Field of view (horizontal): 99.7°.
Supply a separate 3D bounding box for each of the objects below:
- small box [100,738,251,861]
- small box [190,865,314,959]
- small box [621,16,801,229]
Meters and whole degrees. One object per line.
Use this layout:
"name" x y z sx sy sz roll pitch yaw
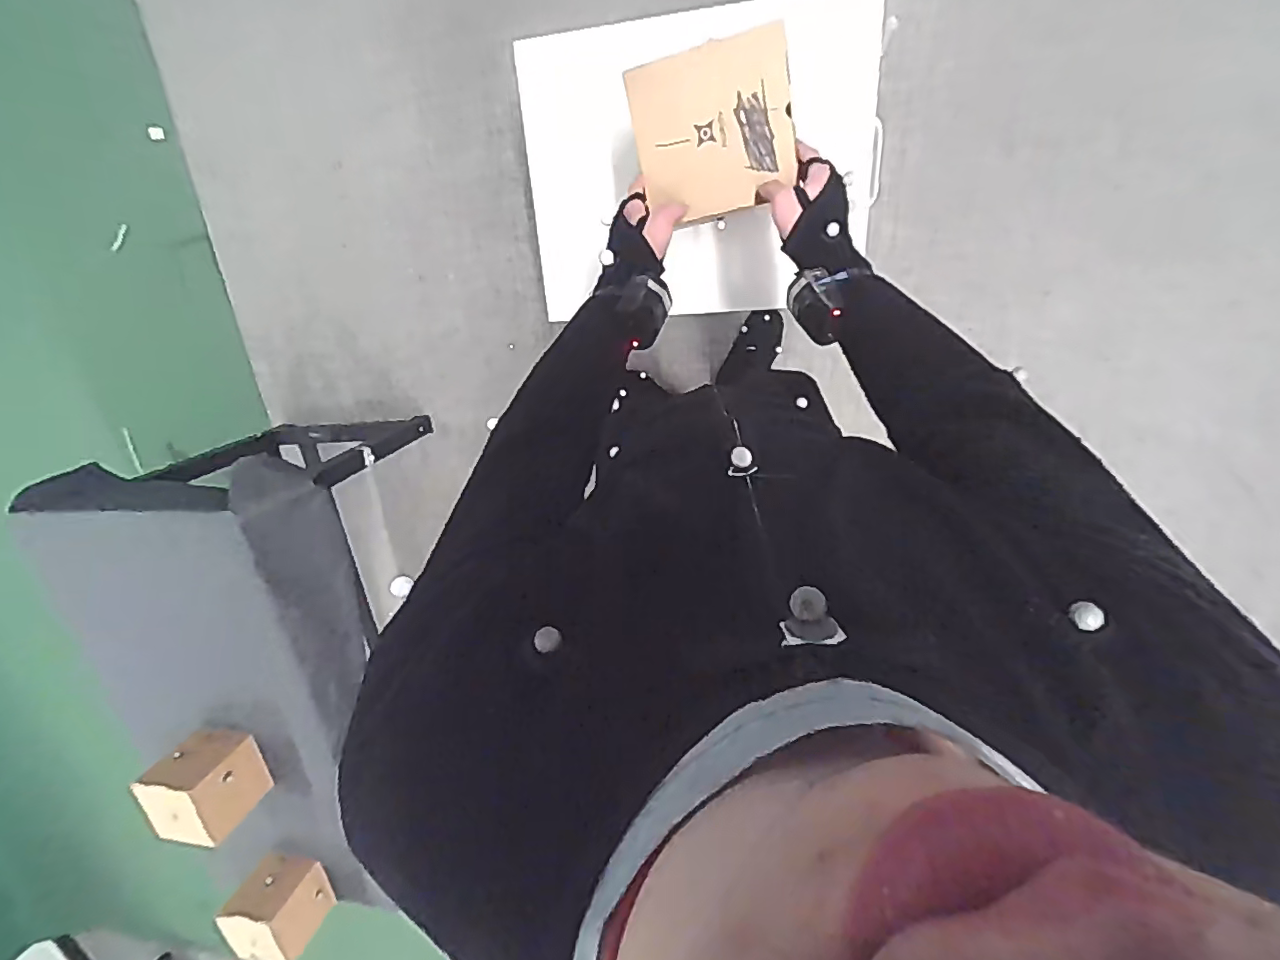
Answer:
"small box" -1.045 0.719 1.233 0.168 0.176 0.179 0 113 12
"small box" -0.980 1.128 1.382 0.168 0.176 0.179 0 110 11
"small box" 0.088 -0.410 0.655 0.179 0.176 0.168 -8 112 12
